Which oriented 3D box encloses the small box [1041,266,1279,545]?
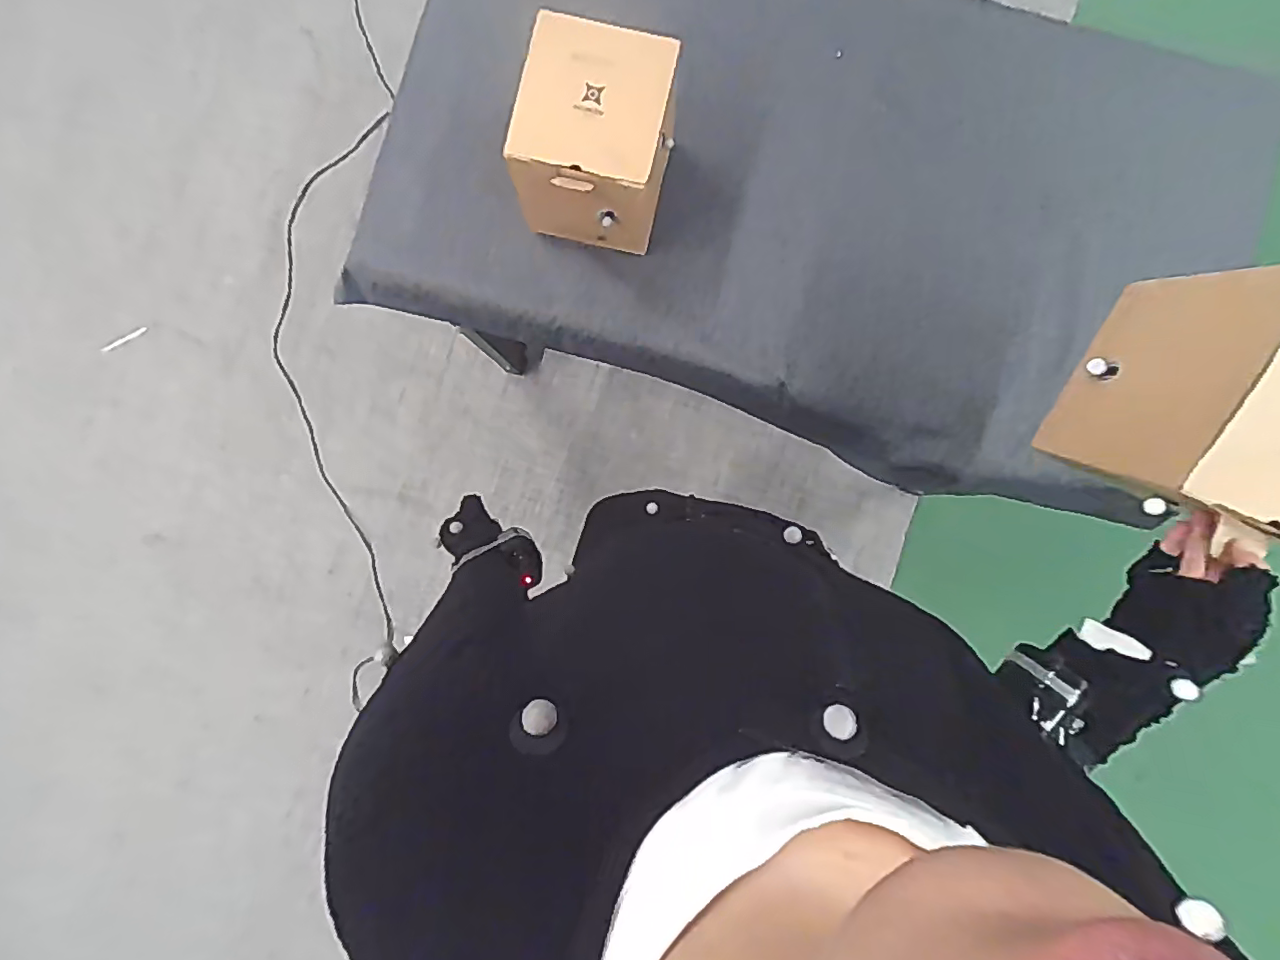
[{"bbox_3d":[0.502,-0.062,0.466,0.168,0.176,0.179,22,105,-6],"label":"small box"}]

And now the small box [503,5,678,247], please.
[{"bbox_3d":[-0.055,-0.422,0.676,0.168,0.176,0.179,13,86,-1],"label":"small box"}]
